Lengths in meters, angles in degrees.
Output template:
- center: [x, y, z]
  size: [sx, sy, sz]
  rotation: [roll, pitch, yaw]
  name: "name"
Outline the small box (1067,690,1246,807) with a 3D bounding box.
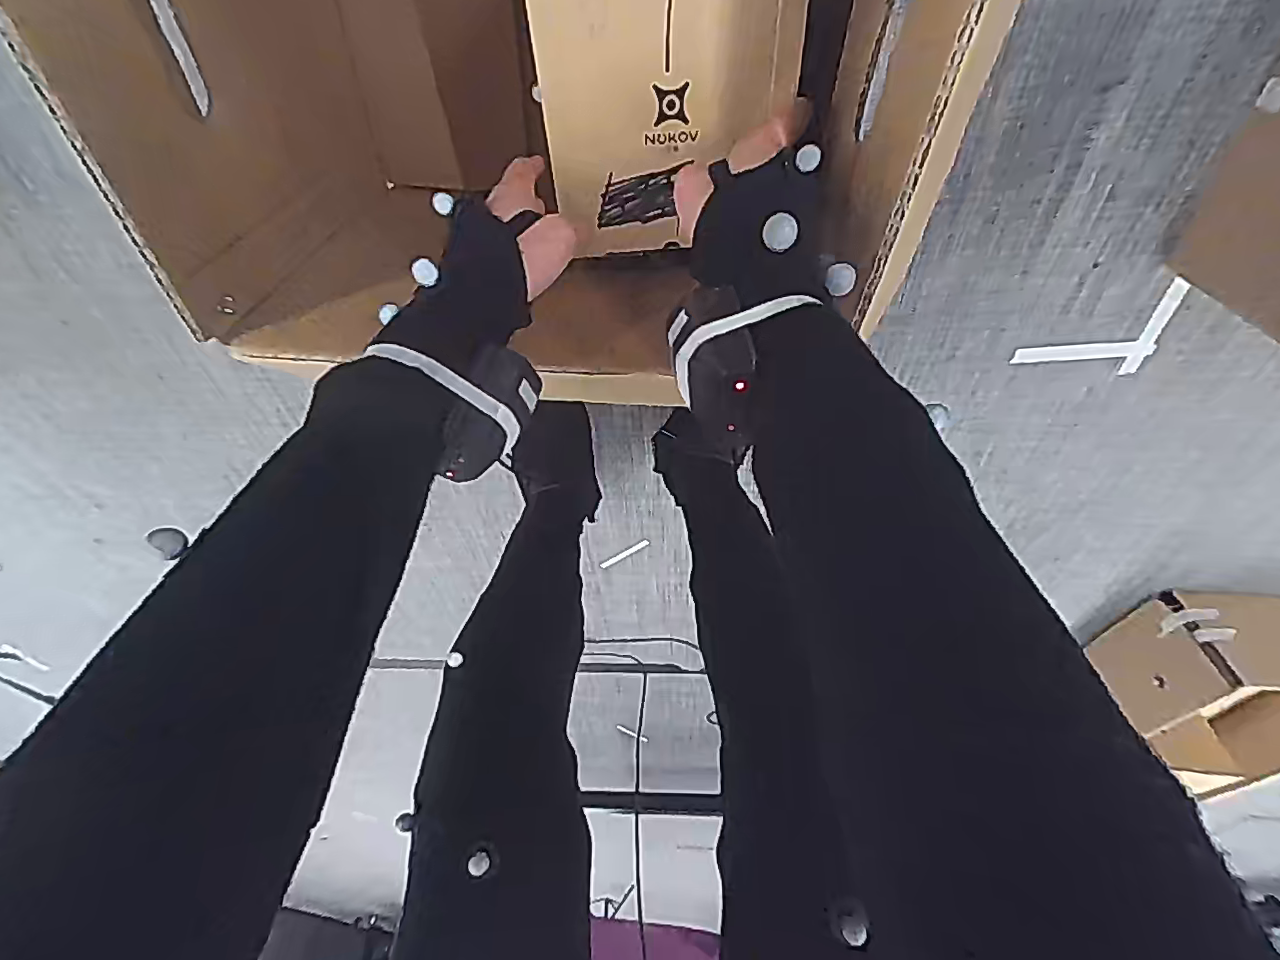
- center: [1.064, 0.561, 1.136]
  size: [0.179, 0.176, 0.168]
  rotation: [10, 134, -6]
  name: "small box"
